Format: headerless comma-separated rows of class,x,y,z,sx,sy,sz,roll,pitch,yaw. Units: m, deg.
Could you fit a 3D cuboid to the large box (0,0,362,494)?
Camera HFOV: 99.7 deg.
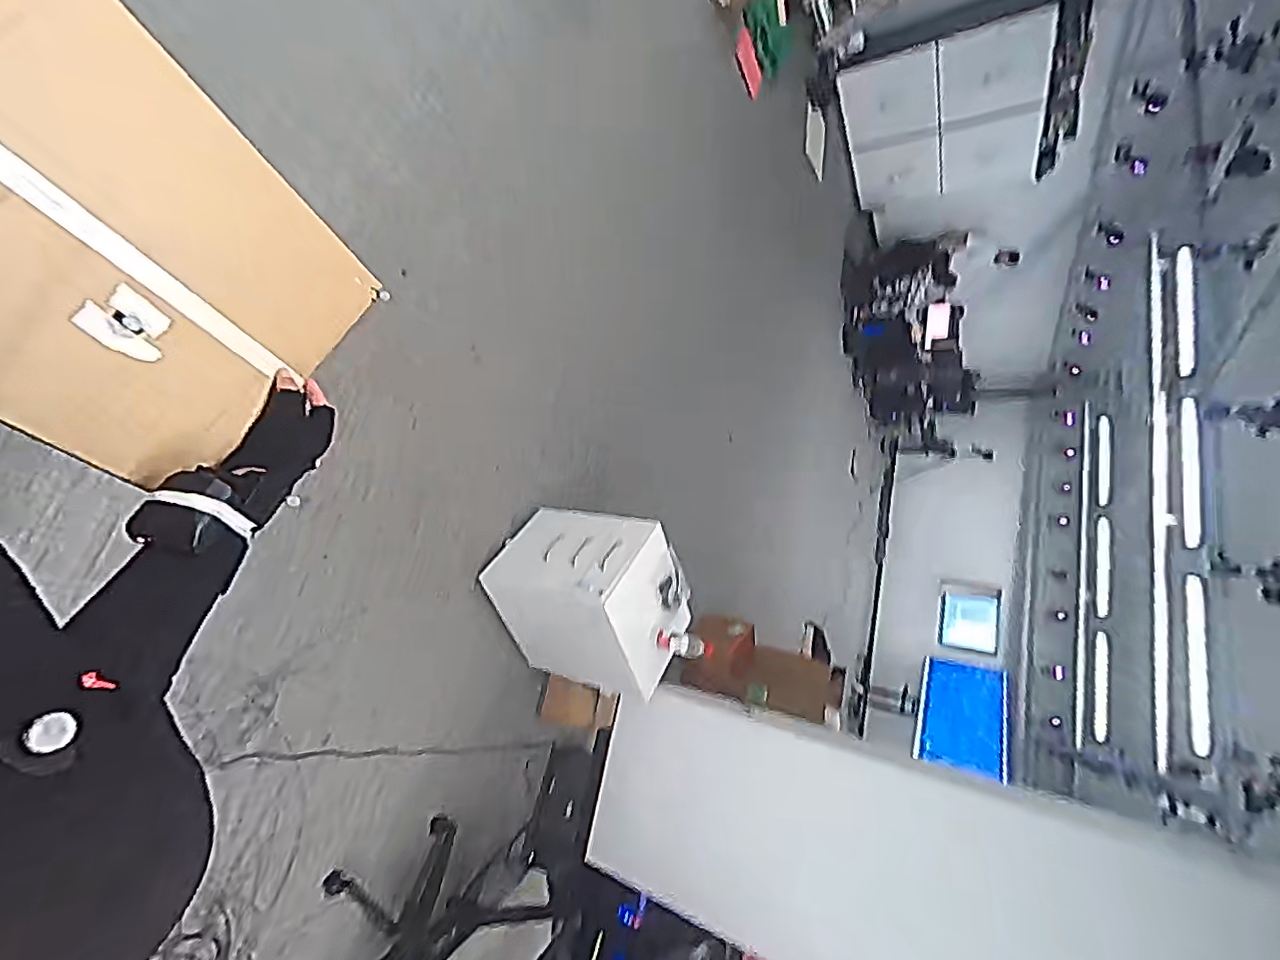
large box,-0.585,-0.236,0.505,0.320,0.320,0.408,-64,146,-20
